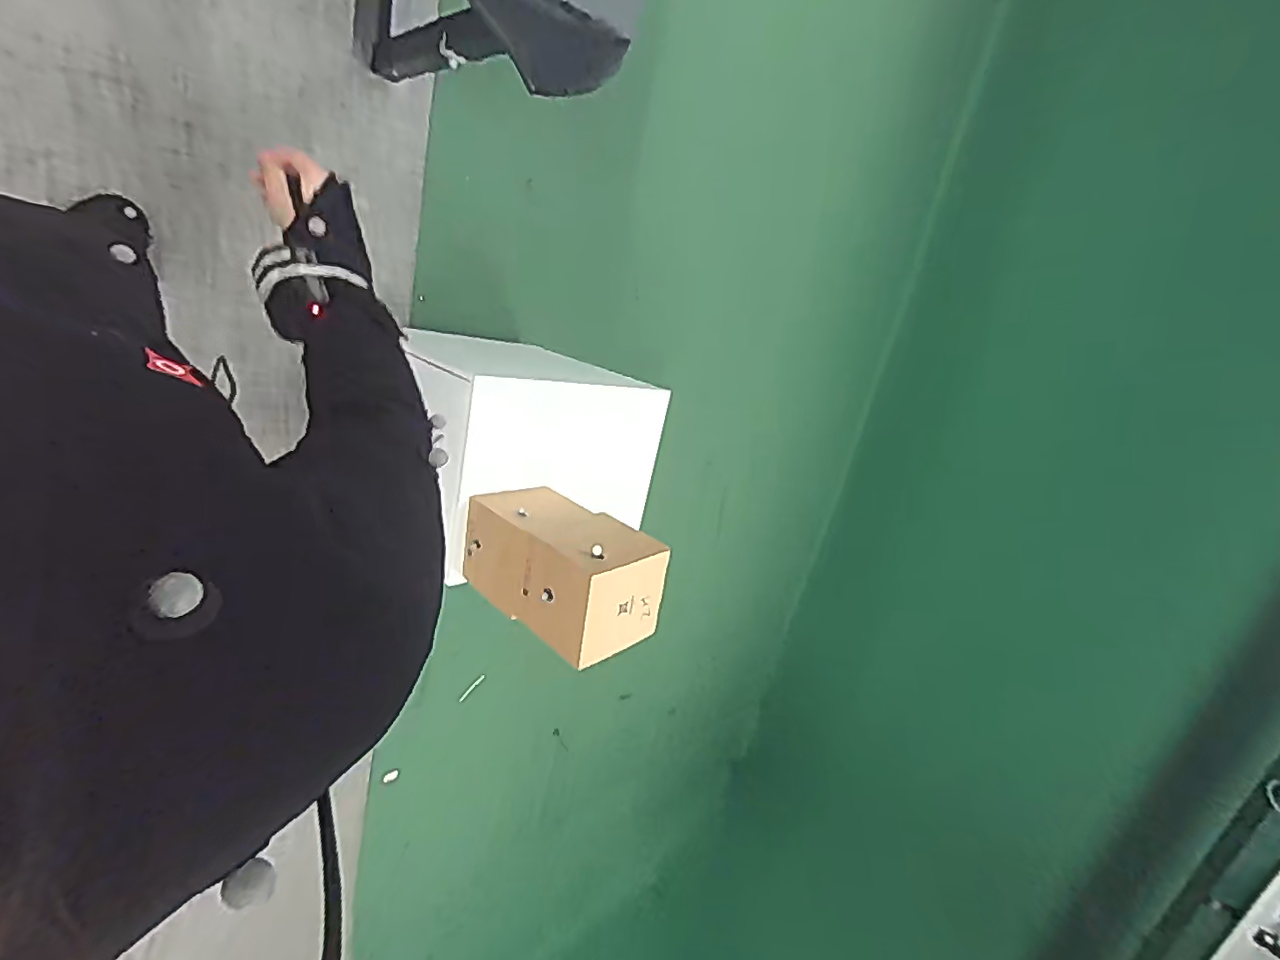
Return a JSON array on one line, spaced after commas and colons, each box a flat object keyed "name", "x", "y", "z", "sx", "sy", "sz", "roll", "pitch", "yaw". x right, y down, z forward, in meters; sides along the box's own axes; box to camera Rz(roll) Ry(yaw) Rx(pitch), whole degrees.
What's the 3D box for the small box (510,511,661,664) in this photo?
[{"name": "small box", "x": -0.095, "y": 0.166, "z": 0.896, "sx": 0.179, "sy": 0.176, "sz": 0.168, "roll": -11, "pitch": 119, "yaw": -46}]
